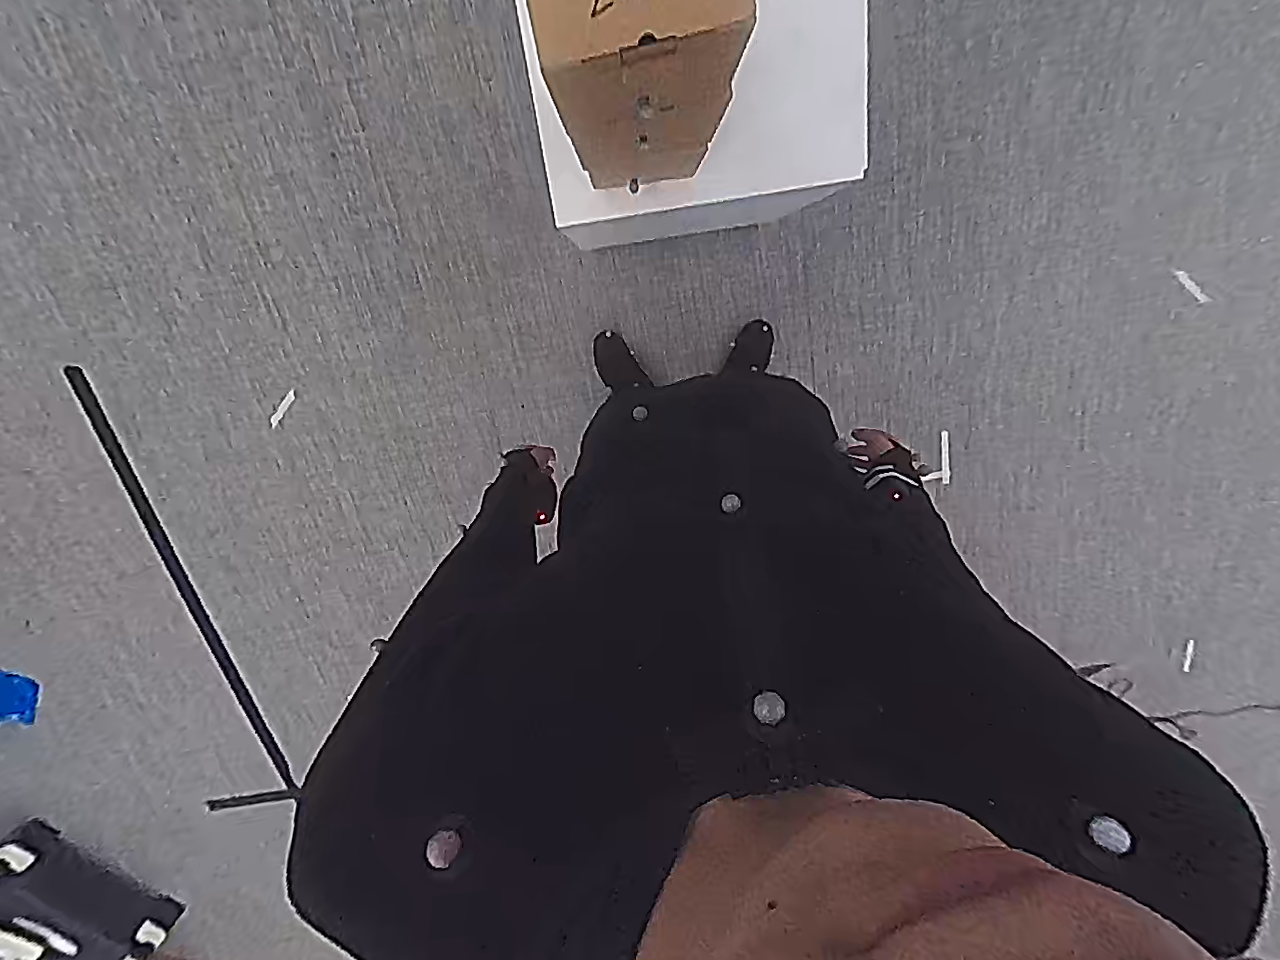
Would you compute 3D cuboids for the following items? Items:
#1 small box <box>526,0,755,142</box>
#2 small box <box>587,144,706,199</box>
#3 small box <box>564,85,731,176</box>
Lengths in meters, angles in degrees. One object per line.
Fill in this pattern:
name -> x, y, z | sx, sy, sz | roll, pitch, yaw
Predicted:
small box -> -0.011, -0.420, 0.454 | 0.168, 0.176, 0.179 | -11, 107, 3
small box -> -0.005, -0.520, 0.768 | 0.168, 0.176, 0.179 | -8, 108, 1
small box -> -0.007, -0.467, 0.613 | 0.179, 0.176, 0.168 | -11, 107, 4
